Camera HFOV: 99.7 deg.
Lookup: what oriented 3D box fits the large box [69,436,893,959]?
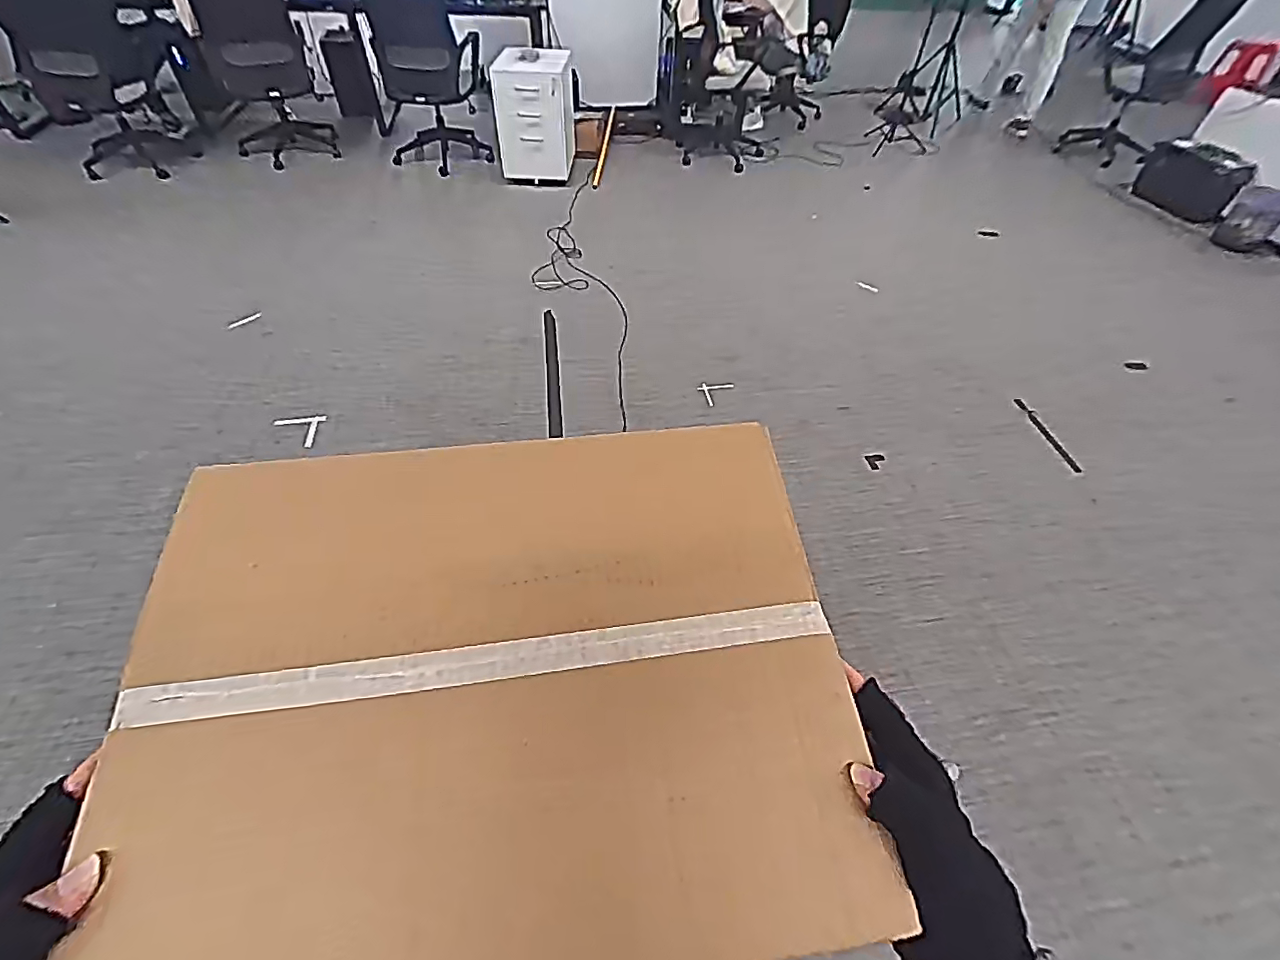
[{"bbox_3d":[-0.091,0.191,0.454,0.408,0.320,0.320,-6,59,-6],"label":"large box"}]
